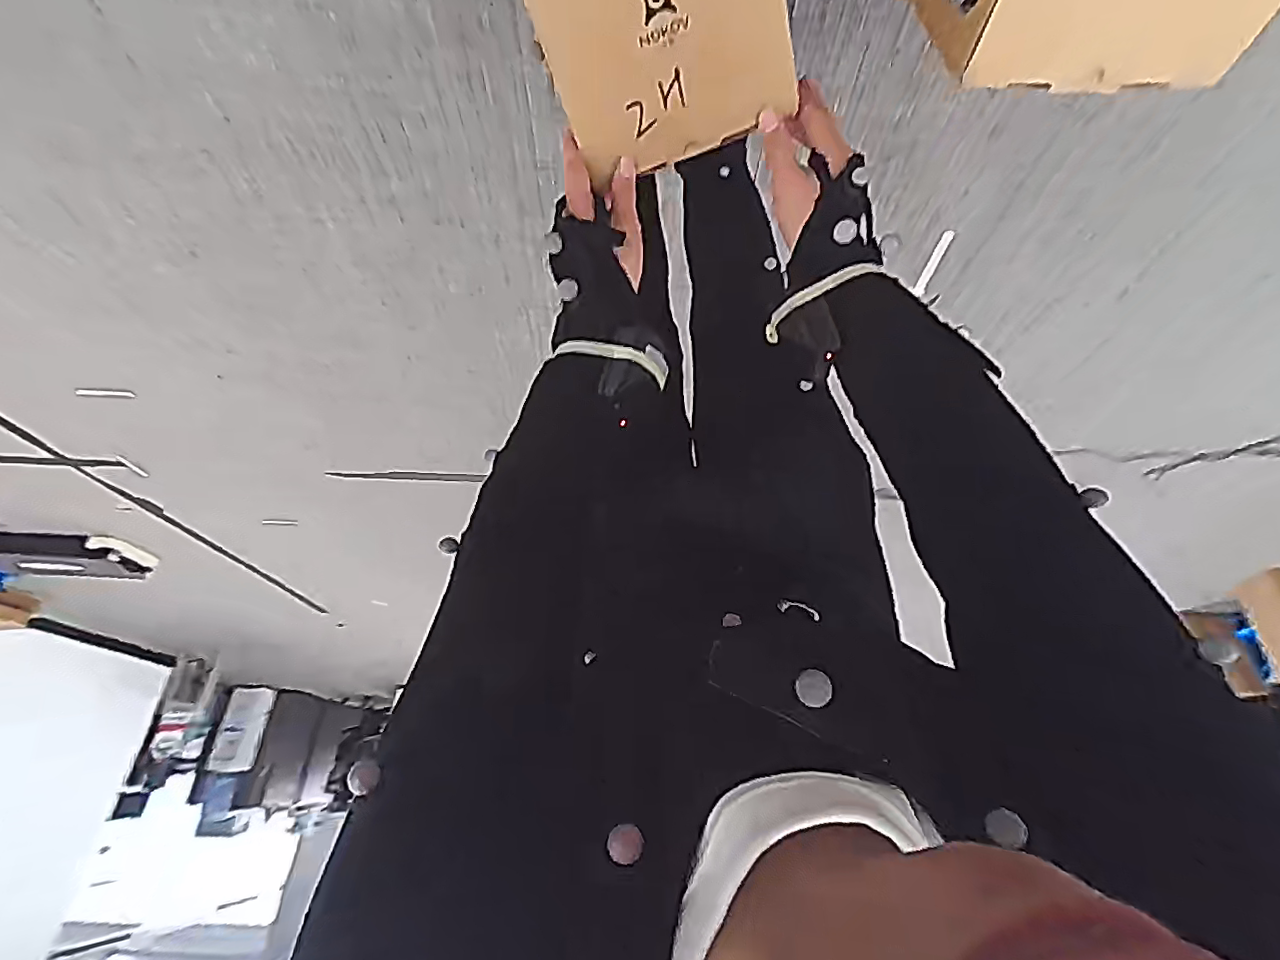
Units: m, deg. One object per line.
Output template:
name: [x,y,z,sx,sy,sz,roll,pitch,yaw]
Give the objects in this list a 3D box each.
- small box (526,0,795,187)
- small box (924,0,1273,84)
small box: [0.008,-0.363,0.425,0.168,0.176,0.179,-16,127,11]
small box: [0.286,-0.371,0.317,0.168,0.176,0.179,0,150,0]
